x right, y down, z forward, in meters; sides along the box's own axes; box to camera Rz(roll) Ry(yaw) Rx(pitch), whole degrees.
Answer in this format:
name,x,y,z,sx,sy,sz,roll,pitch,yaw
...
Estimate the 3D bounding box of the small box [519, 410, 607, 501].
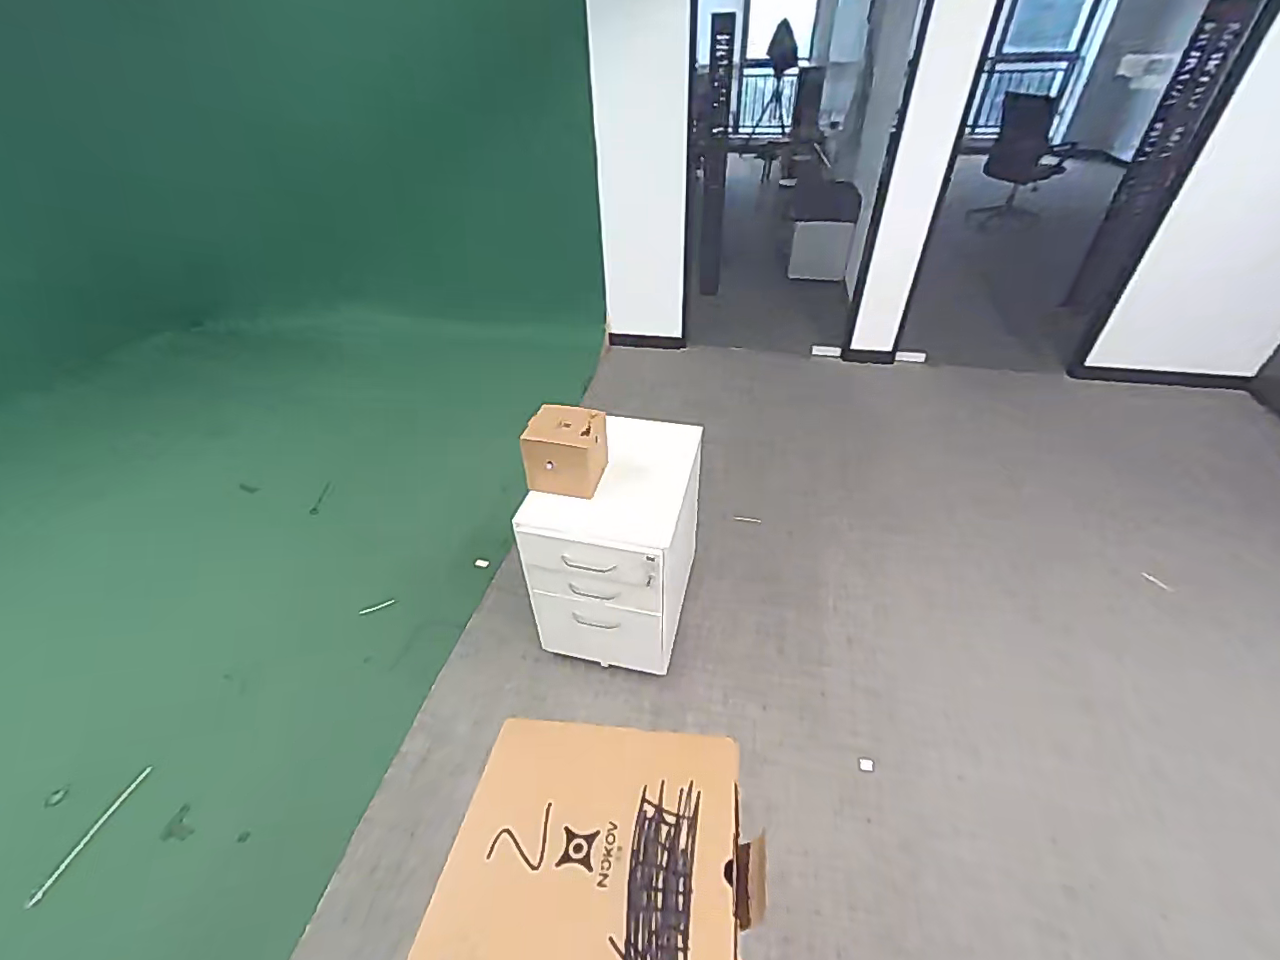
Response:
name,x,y,z,sx,sy,sz,roll,pitch,yaw
small box,-0.193,-0.063,1.411,0.179,0.176,0.168,8,40,10
